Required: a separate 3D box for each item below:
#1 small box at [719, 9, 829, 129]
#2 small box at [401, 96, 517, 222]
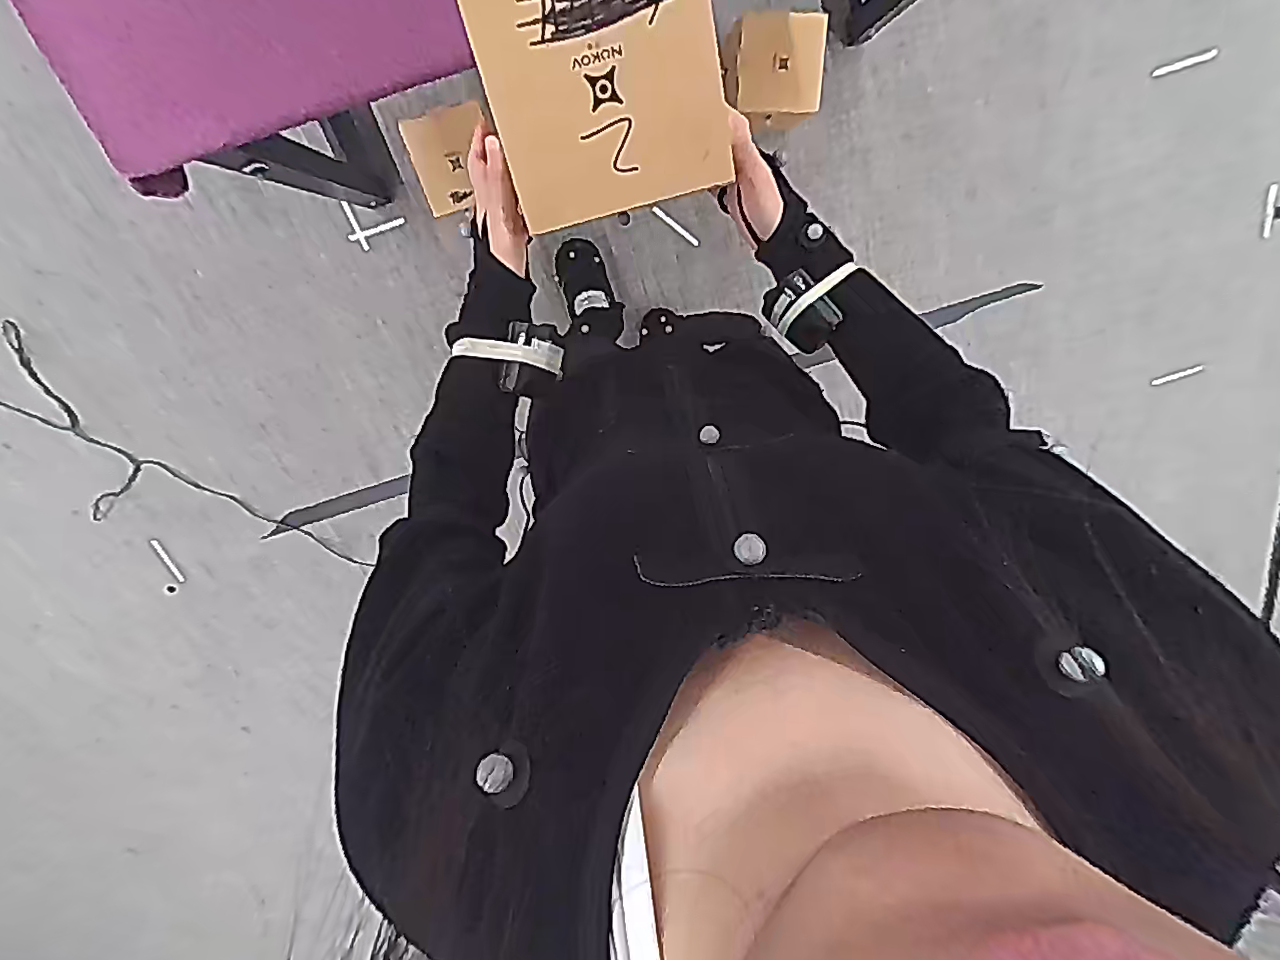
[{"bbox_3d":[0.274,-0.858,1.143,0.179,0.176,0.168,-2,112,-4],"label":"small box"},{"bbox_3d":[-0.372,-0.670,1.148,0.168,0.176,0.179,-16,111,1],"label":"small box"}]
